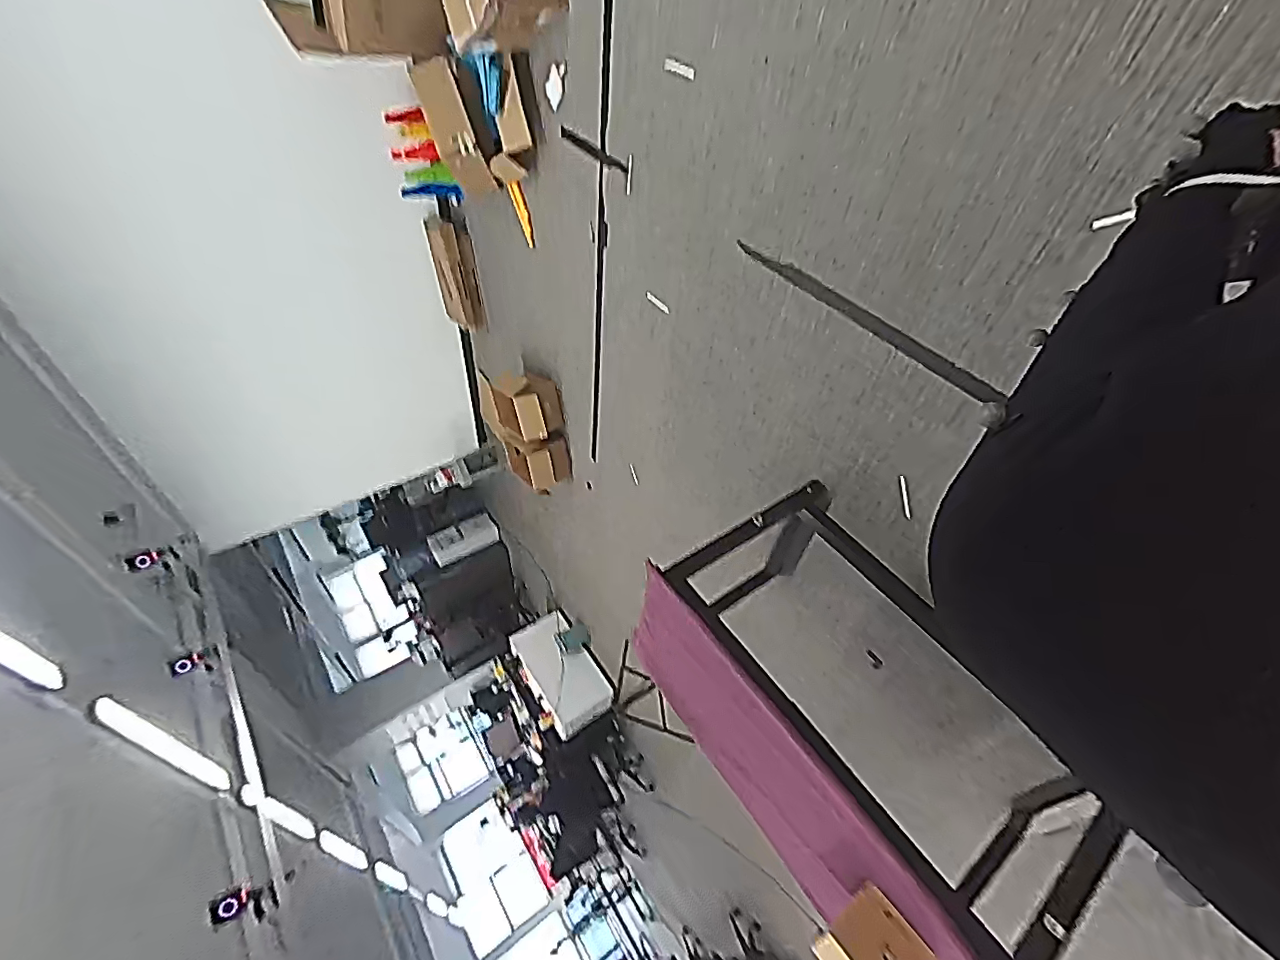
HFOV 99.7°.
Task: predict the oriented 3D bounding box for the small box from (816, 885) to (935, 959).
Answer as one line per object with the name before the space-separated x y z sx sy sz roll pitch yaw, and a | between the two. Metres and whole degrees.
small box | 0.543 1.085 1.248 0.168 0.176 0.179 43 145 37
